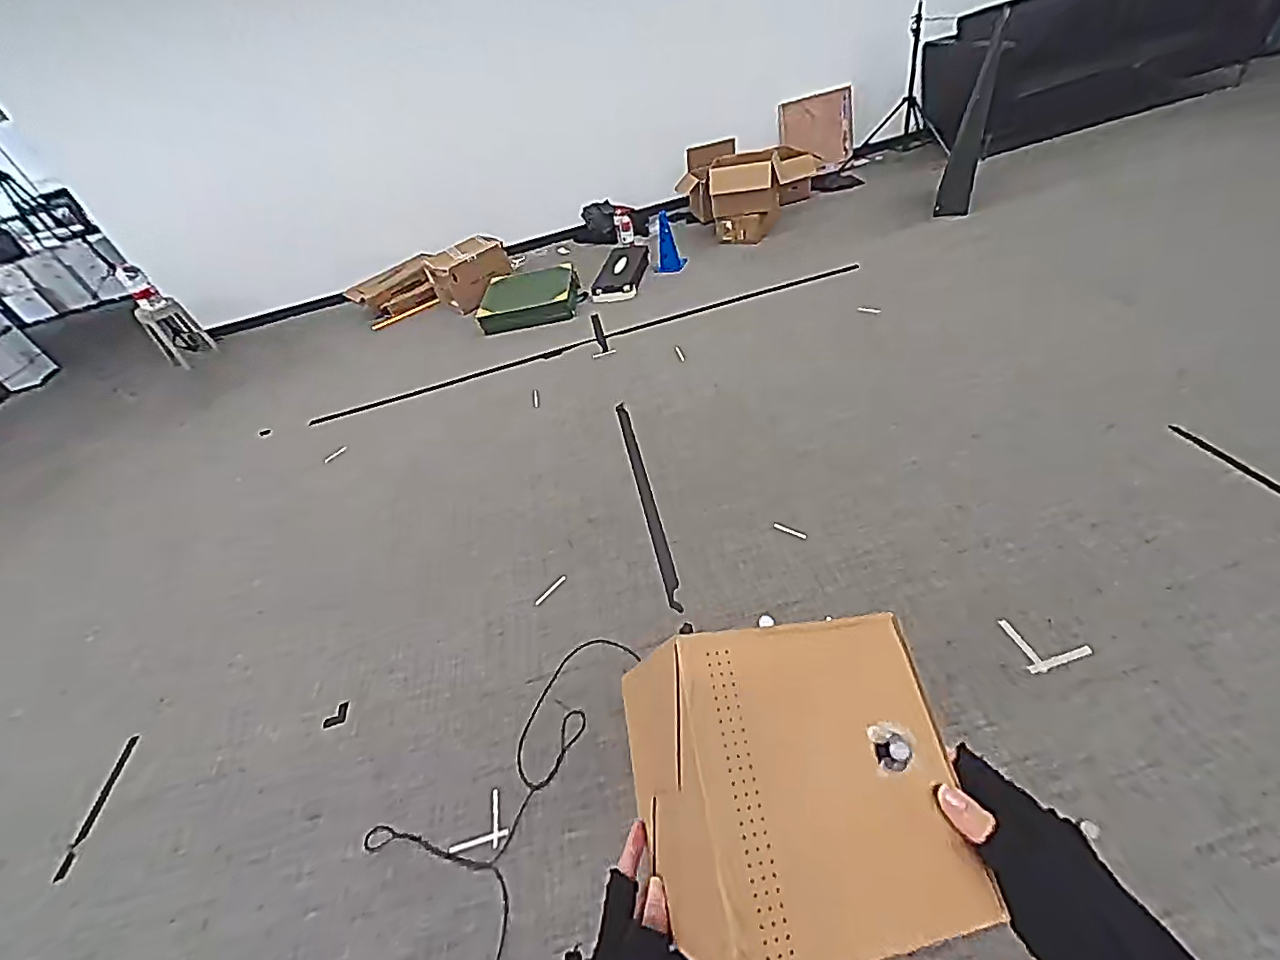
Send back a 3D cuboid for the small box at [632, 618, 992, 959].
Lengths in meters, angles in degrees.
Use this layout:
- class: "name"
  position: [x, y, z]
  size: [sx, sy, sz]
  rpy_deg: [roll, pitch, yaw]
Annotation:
- class: "small box"
  position: [0.095, 0.216, 0.396]
  size: [0.176, 0.168, 0.179]
  rpy_deg: [-2, 61, -15]
